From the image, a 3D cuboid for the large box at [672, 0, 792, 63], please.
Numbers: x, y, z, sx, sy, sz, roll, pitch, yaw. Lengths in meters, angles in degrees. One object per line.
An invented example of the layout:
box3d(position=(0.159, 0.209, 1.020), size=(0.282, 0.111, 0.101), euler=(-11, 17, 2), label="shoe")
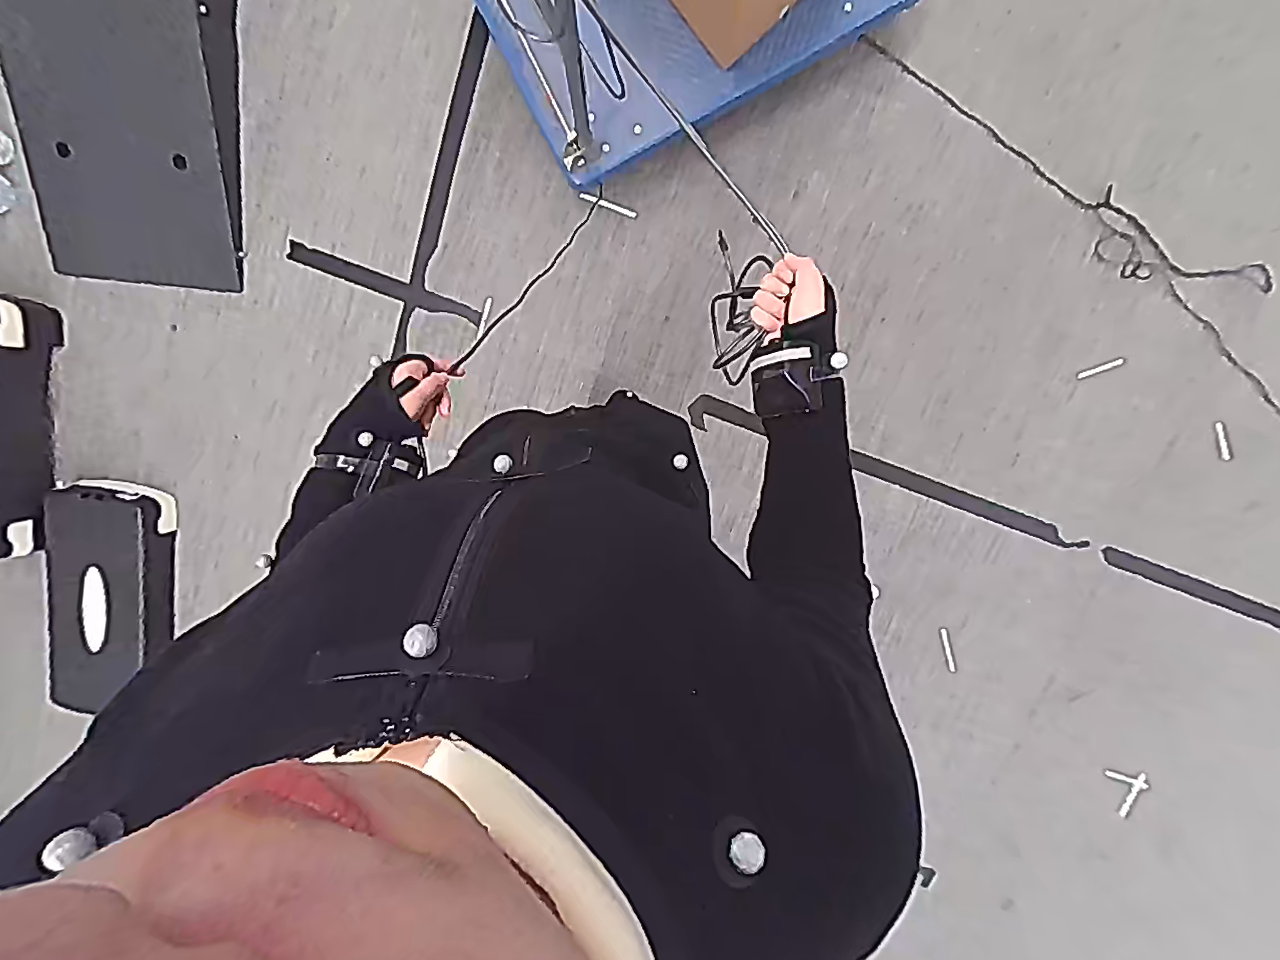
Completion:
box3d(position=(0.158, -1.100, 0.967), size=(0.320, 0.320, 0.408), euler=(-42, 97, 8), label="large box")
